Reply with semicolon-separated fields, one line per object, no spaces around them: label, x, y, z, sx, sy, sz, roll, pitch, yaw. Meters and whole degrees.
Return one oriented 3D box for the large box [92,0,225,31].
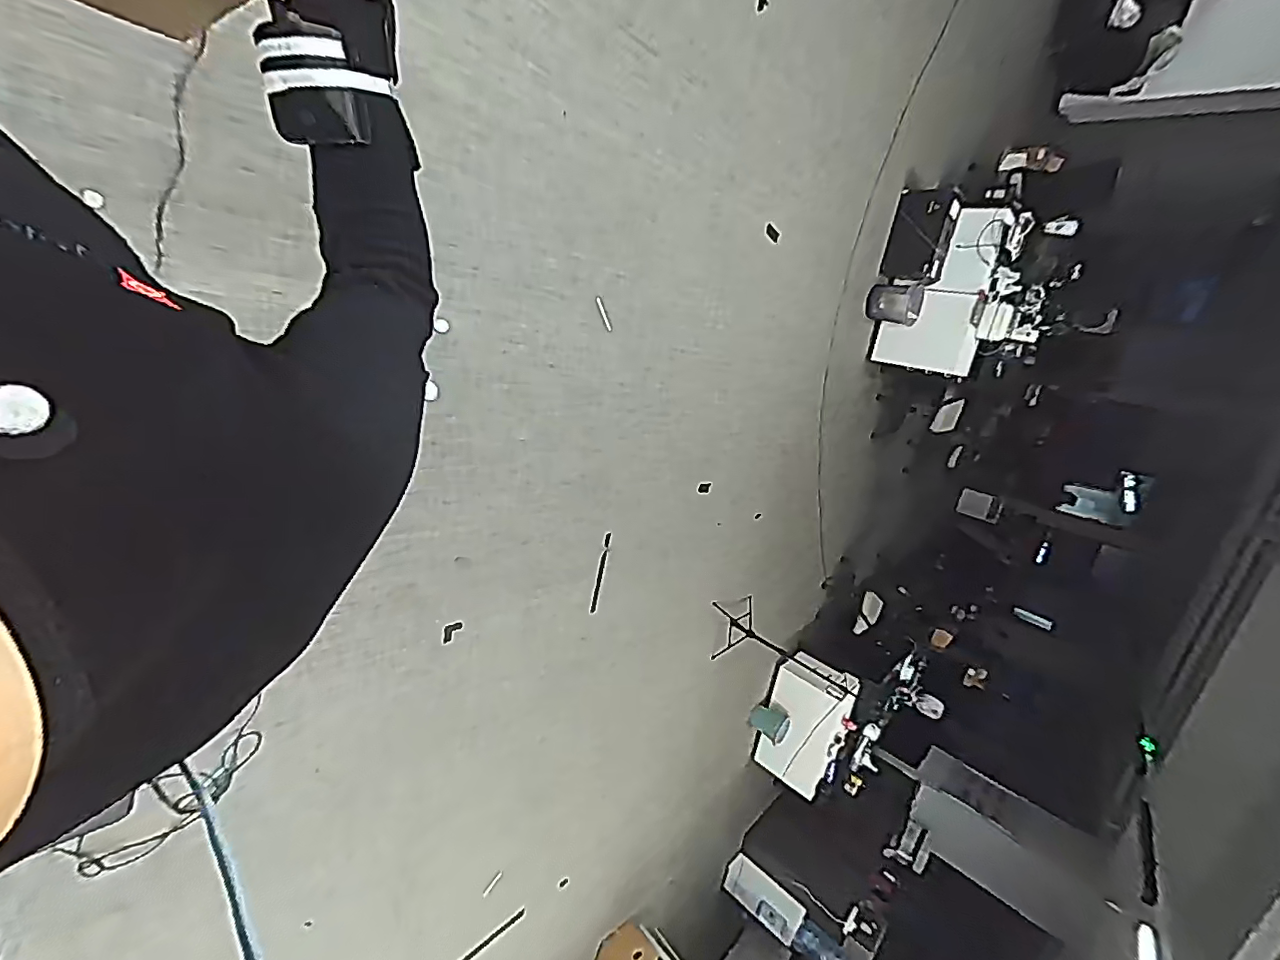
large box;-0.429;-0.489;0.231;0.408;0.320;0.320;-8;117;-48
